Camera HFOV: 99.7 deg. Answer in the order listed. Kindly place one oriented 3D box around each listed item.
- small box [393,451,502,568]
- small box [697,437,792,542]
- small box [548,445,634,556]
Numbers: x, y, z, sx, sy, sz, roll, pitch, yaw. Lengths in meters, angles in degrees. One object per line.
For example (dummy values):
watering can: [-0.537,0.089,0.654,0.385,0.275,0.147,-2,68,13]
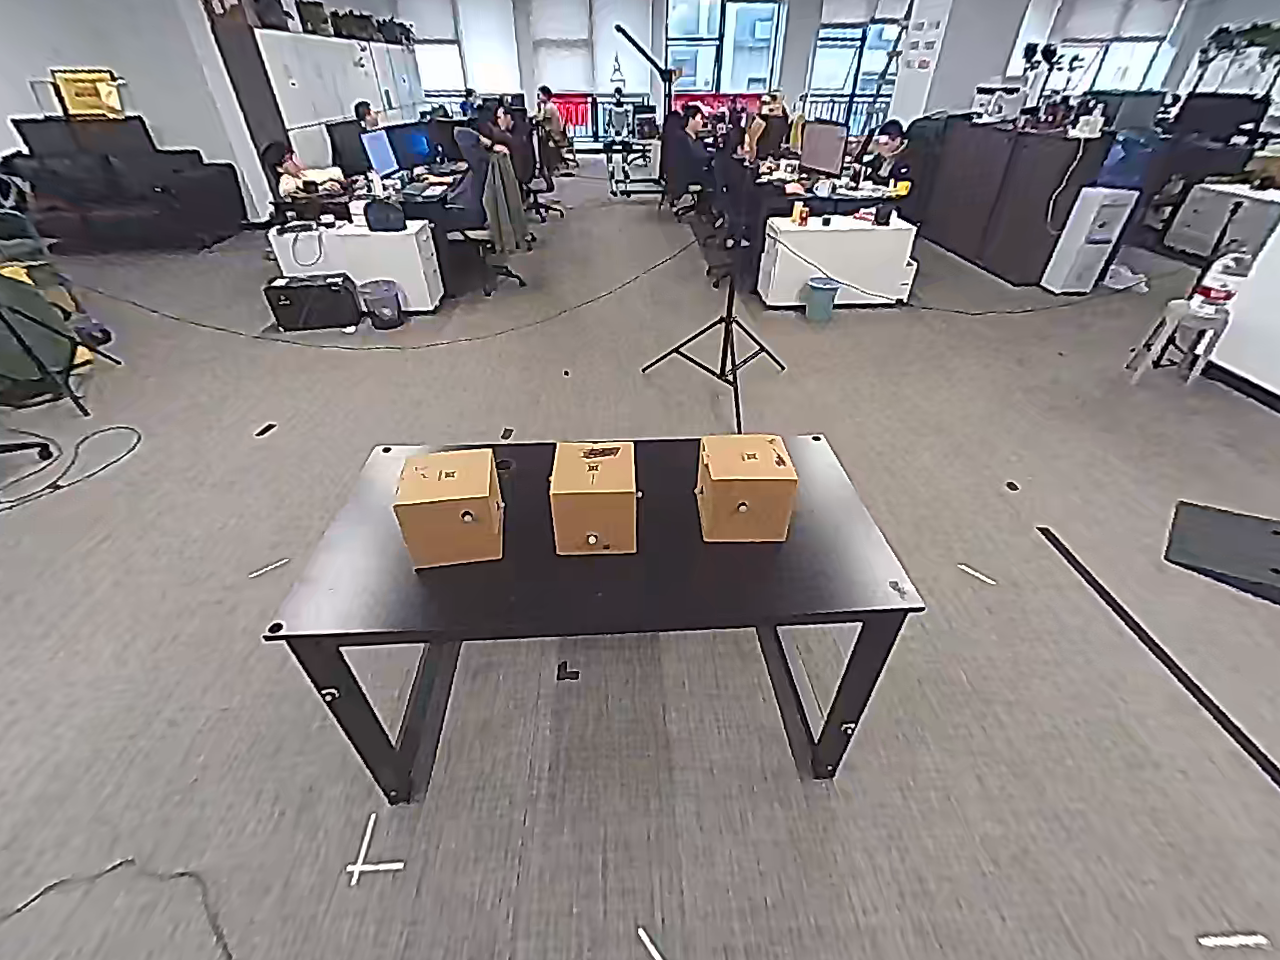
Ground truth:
small box: [-0.385,0.062,1.117,0.179,0.176,0.168,-7,37,-8]
small box: [0.216,0.021,1.171,0.179,0.176,0.168,-1,37,0]
small box: [-0.097,0.041,1.146,0.168,0.176,0.179,-2,38,-1]
